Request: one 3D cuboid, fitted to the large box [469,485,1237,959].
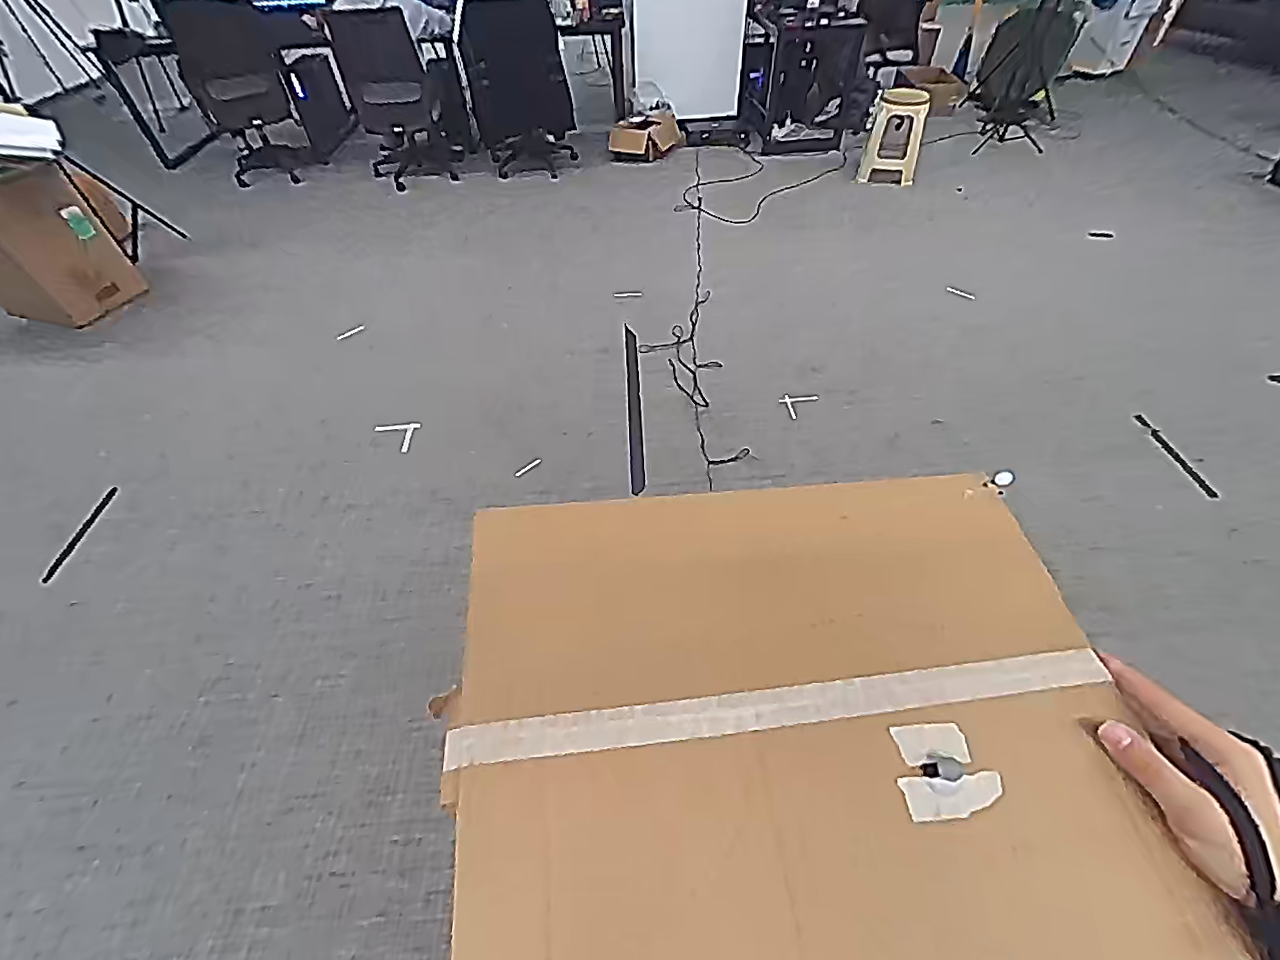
[{"bbox_3d":[0.087,0.229,0.460,0.408,0.320,0.320,-4,56,-8],"label":"large box"}]
